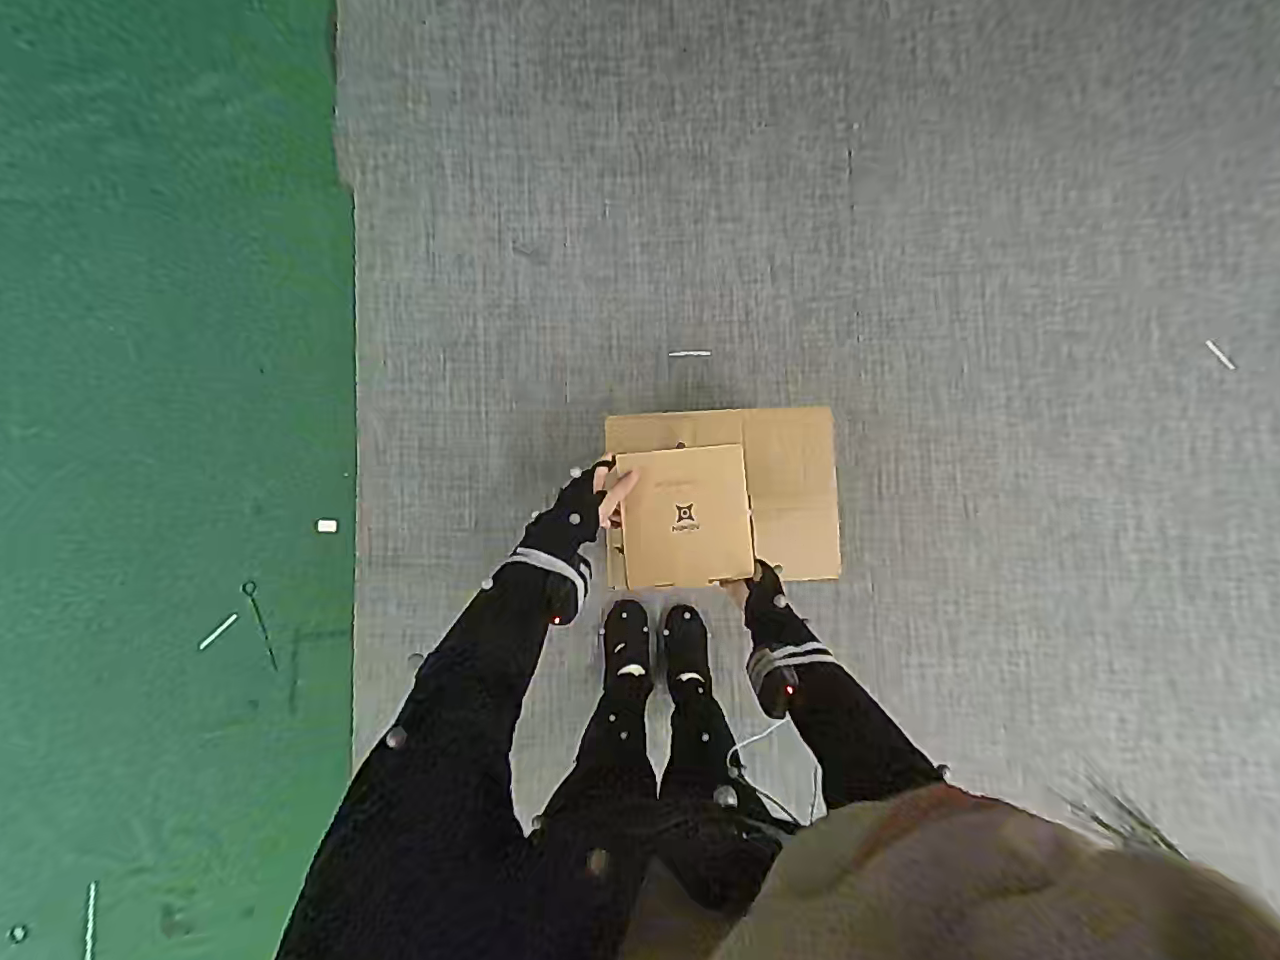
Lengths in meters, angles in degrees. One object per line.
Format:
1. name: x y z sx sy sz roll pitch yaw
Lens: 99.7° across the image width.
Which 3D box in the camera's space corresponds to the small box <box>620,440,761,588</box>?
1. small box: 0.063 0.043 0.755 0.168 0.176 0.179 -6 89 -2
